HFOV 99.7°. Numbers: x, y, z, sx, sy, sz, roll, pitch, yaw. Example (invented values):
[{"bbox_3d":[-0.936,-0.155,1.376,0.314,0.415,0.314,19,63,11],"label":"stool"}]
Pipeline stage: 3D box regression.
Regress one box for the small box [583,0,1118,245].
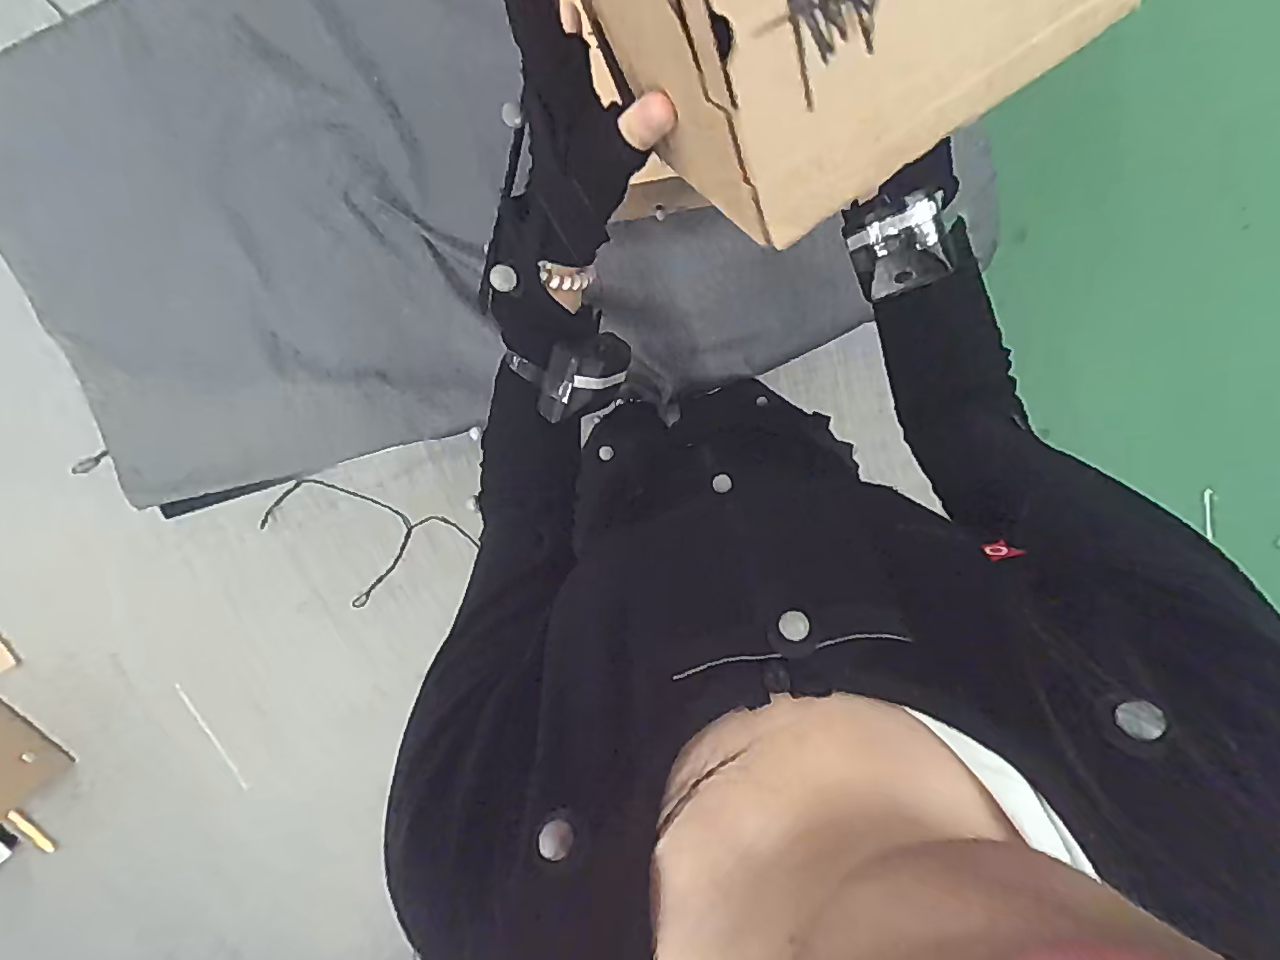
[{"bbox_3d":[0.064,-0.244,0.224,0.179,0.176,0.168,-33,141,6],"label":"small box"}]
